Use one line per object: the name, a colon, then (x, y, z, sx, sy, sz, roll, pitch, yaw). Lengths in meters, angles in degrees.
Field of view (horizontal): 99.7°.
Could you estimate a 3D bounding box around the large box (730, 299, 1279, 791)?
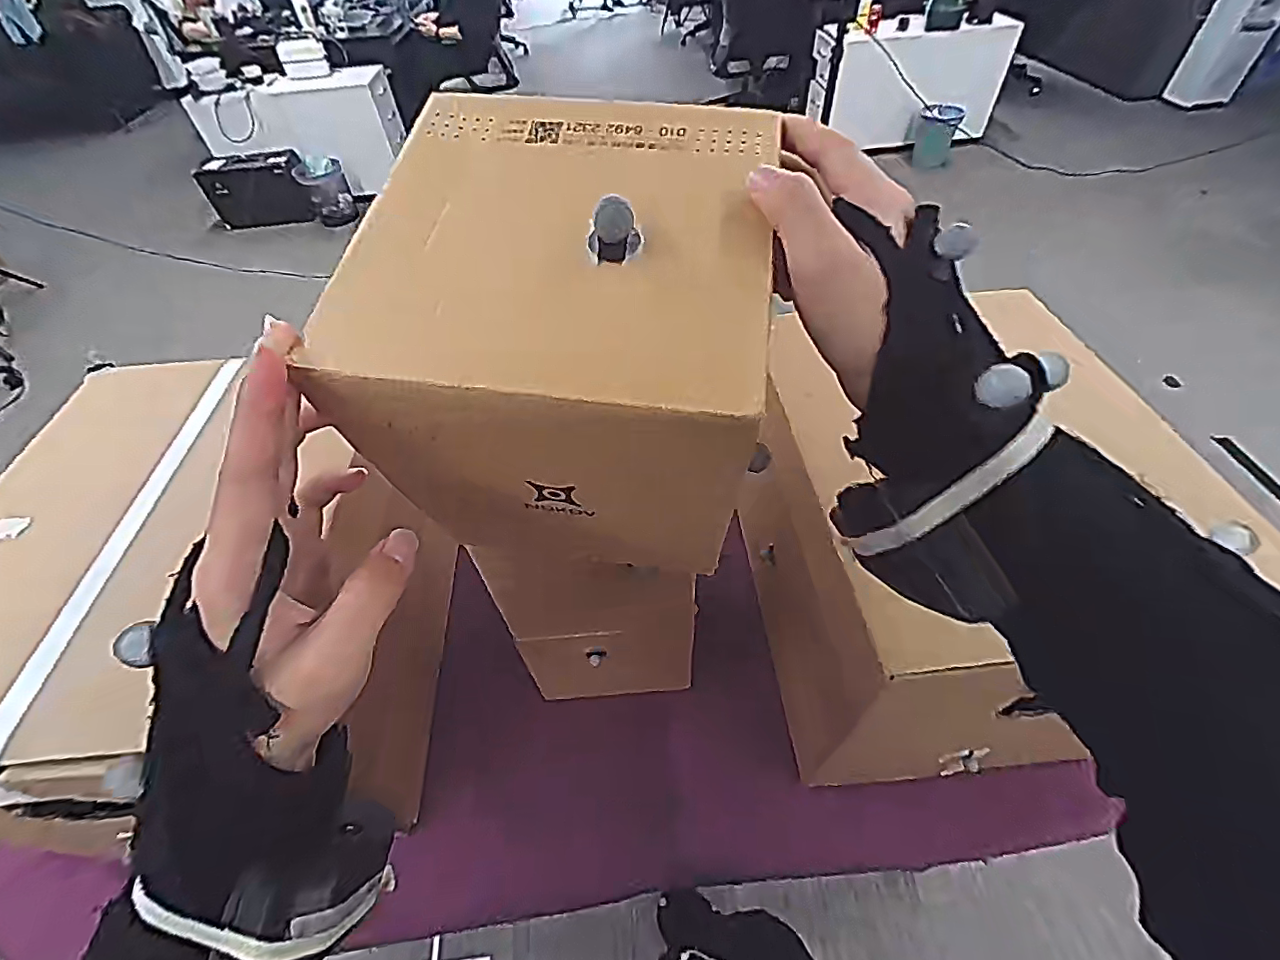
large box: (0.294, 0.060, 0.581, 0.320, 0.320, 0.408, -6, 48, -2)
